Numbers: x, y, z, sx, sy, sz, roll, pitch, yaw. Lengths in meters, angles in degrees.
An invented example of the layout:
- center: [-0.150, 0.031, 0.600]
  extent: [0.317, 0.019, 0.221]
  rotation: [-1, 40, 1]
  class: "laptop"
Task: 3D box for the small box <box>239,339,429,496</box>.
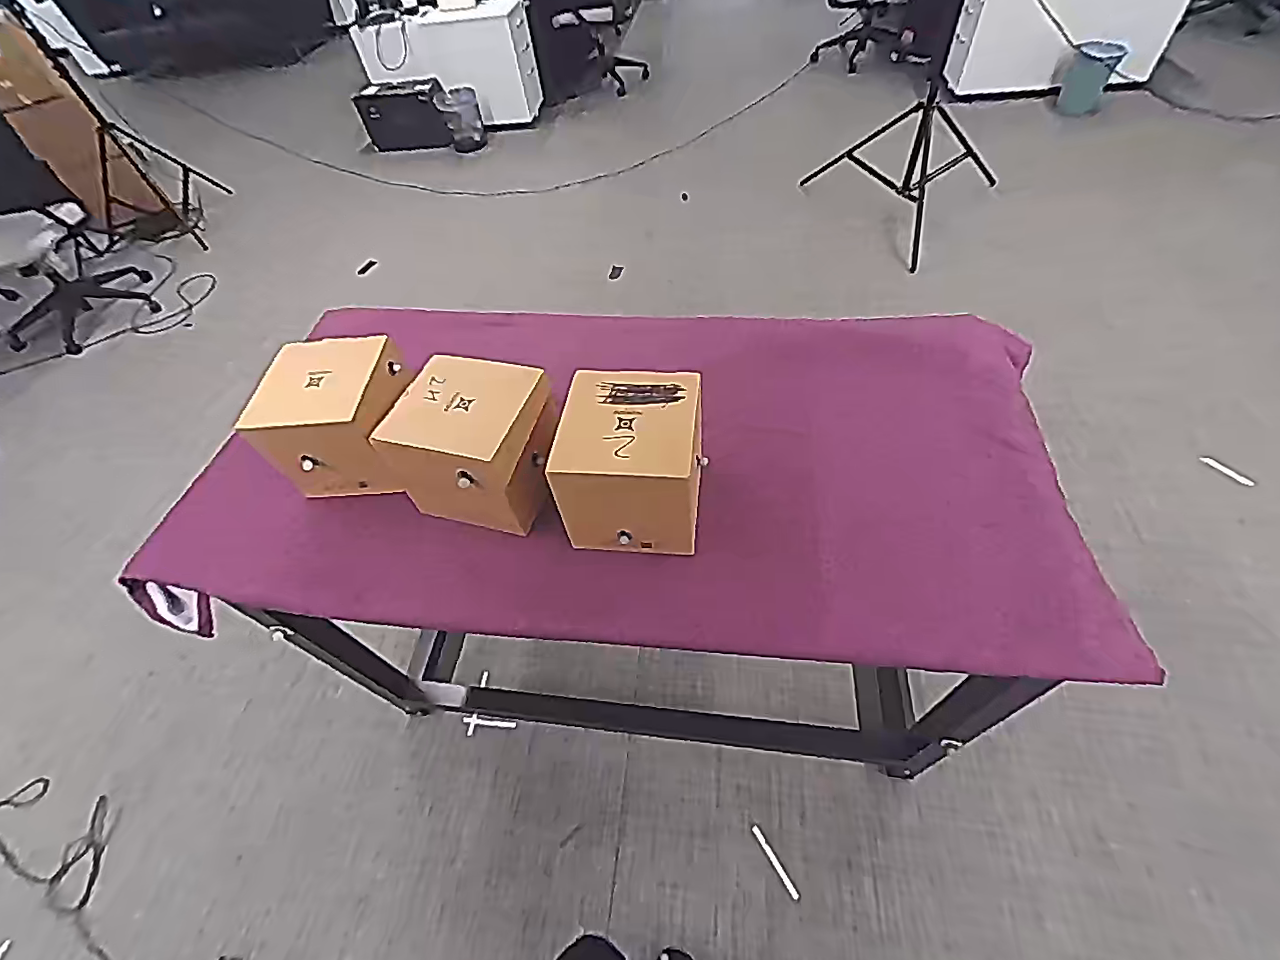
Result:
- center: [-0.445, -0.087, 0.823]
  extent: [0.168, 0.176, 0.179]
  rotation: [-4, 52, 4]
  class: "small box"
